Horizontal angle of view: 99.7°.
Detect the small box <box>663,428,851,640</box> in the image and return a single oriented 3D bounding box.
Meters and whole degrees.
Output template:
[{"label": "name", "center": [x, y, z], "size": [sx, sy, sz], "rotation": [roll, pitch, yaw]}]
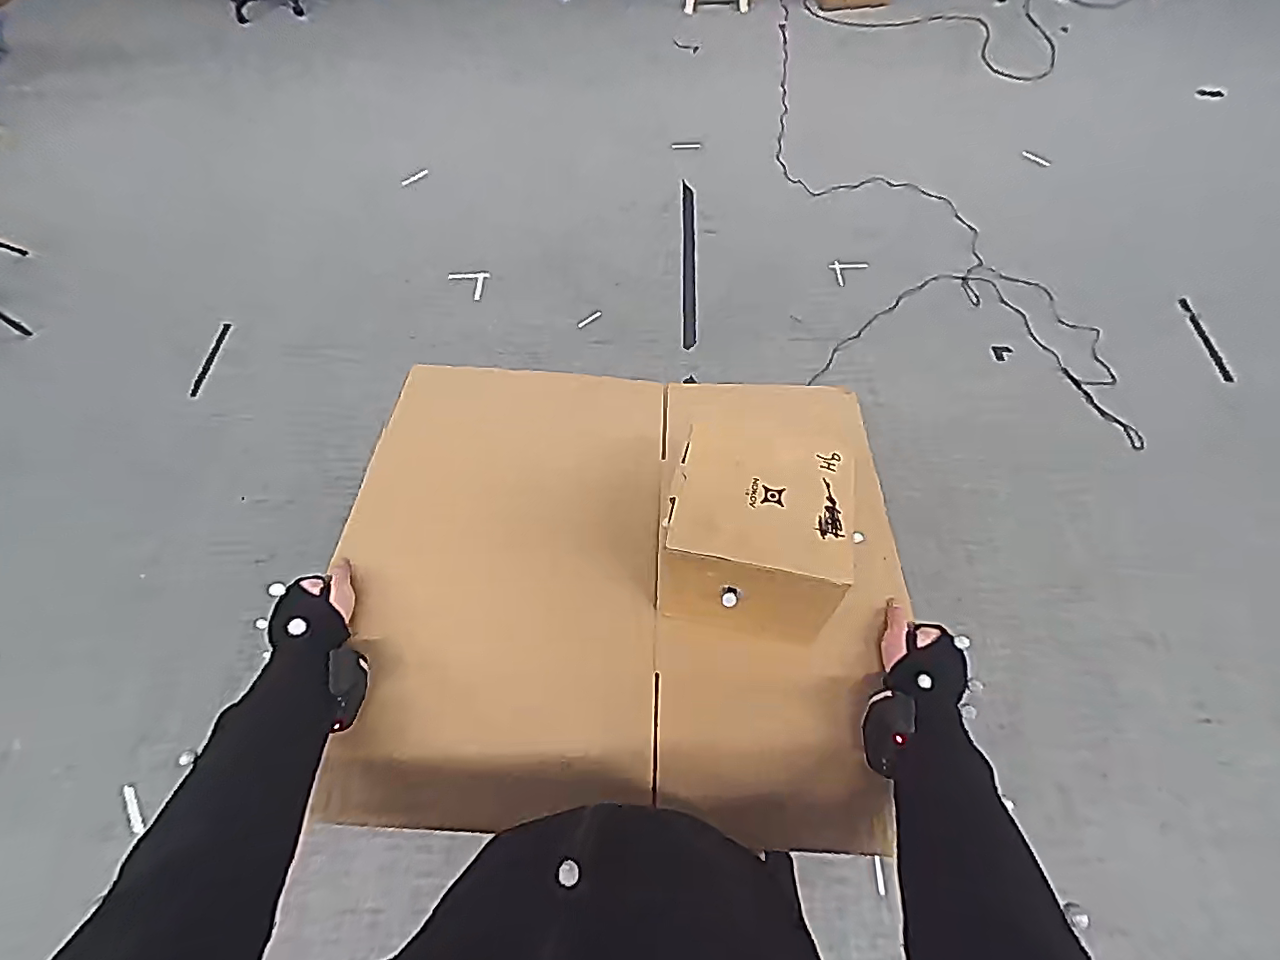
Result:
[{"label": "small box", "center": [0.128, 0.066, 0.613], "size": [0.179, 0.176, 0.168], "rotation": [9, 56, 9]}]
